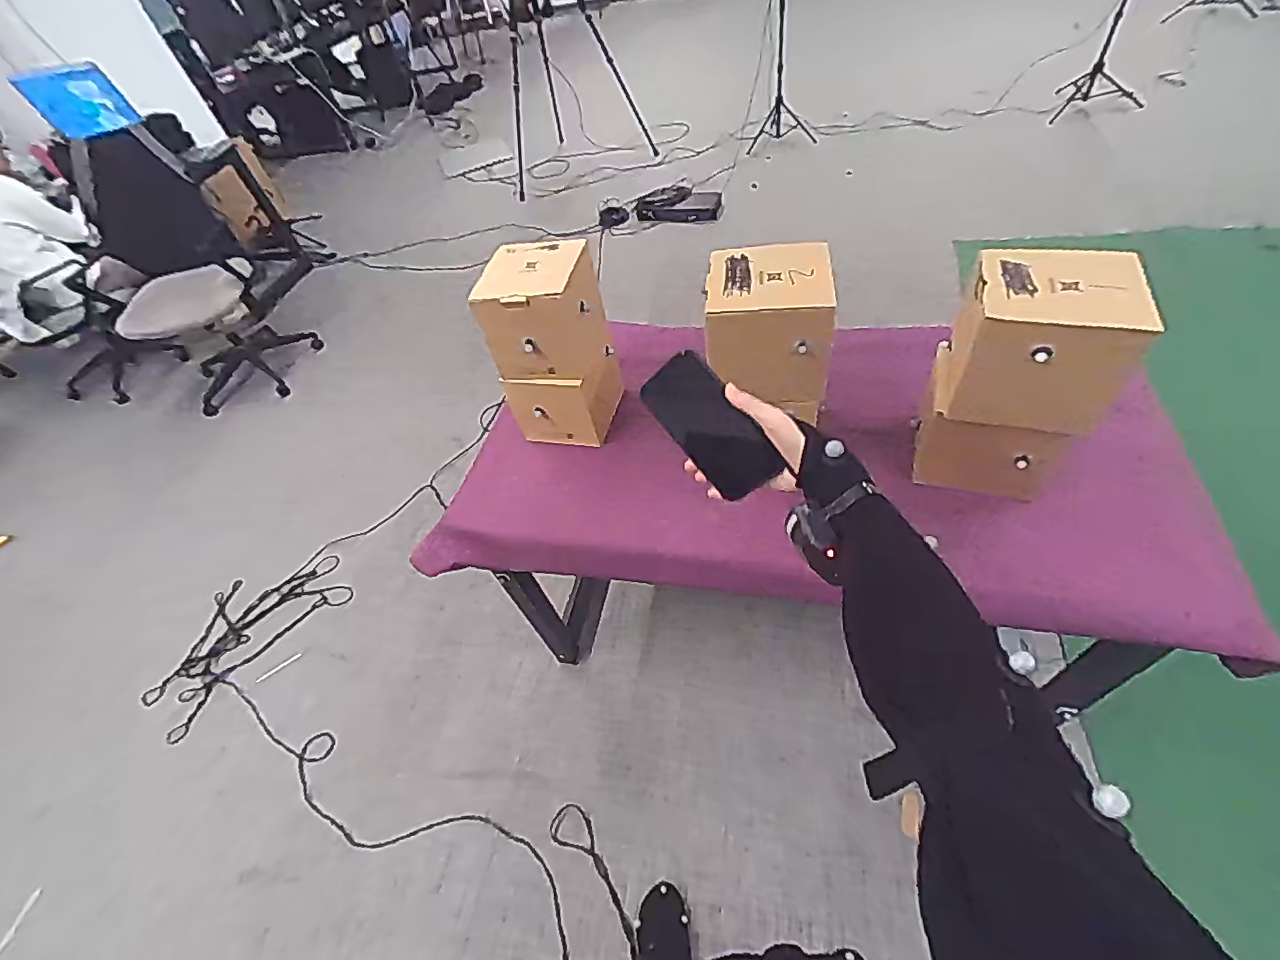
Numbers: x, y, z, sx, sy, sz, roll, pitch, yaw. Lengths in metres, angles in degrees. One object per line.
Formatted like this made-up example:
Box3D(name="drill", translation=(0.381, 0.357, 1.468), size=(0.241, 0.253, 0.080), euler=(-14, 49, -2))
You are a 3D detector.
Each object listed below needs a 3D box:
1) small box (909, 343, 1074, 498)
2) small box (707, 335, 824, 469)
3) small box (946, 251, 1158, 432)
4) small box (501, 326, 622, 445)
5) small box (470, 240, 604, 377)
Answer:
Box3D(name="small box", translation=(0.545, -0.092, 0.856), size=(0.179, 0.176, 0.168), euler=(11, 53, 20))
Box3D(name="small box", translation=(0.223, -0.136, 0.957), size=(0.179, 0.176, 0.168), euler=(5, 52, 16))
Box3D(name="small box", translation=(0.524, -0.183, 0.720), size=(0.179, 0.176, 0.168), euler=(11, 54, 19))
Box3D(name="small box", translation=(-0.145, -0.188, 1.079), size=(0.168, 0.176, 0.179), euler=(6, 52, 17))
Box3D(name="small box", translation=(-0.169, -0.298, 0.959), size=(0.168, 0.176, 0.179), euler=(2, 52, 13))
